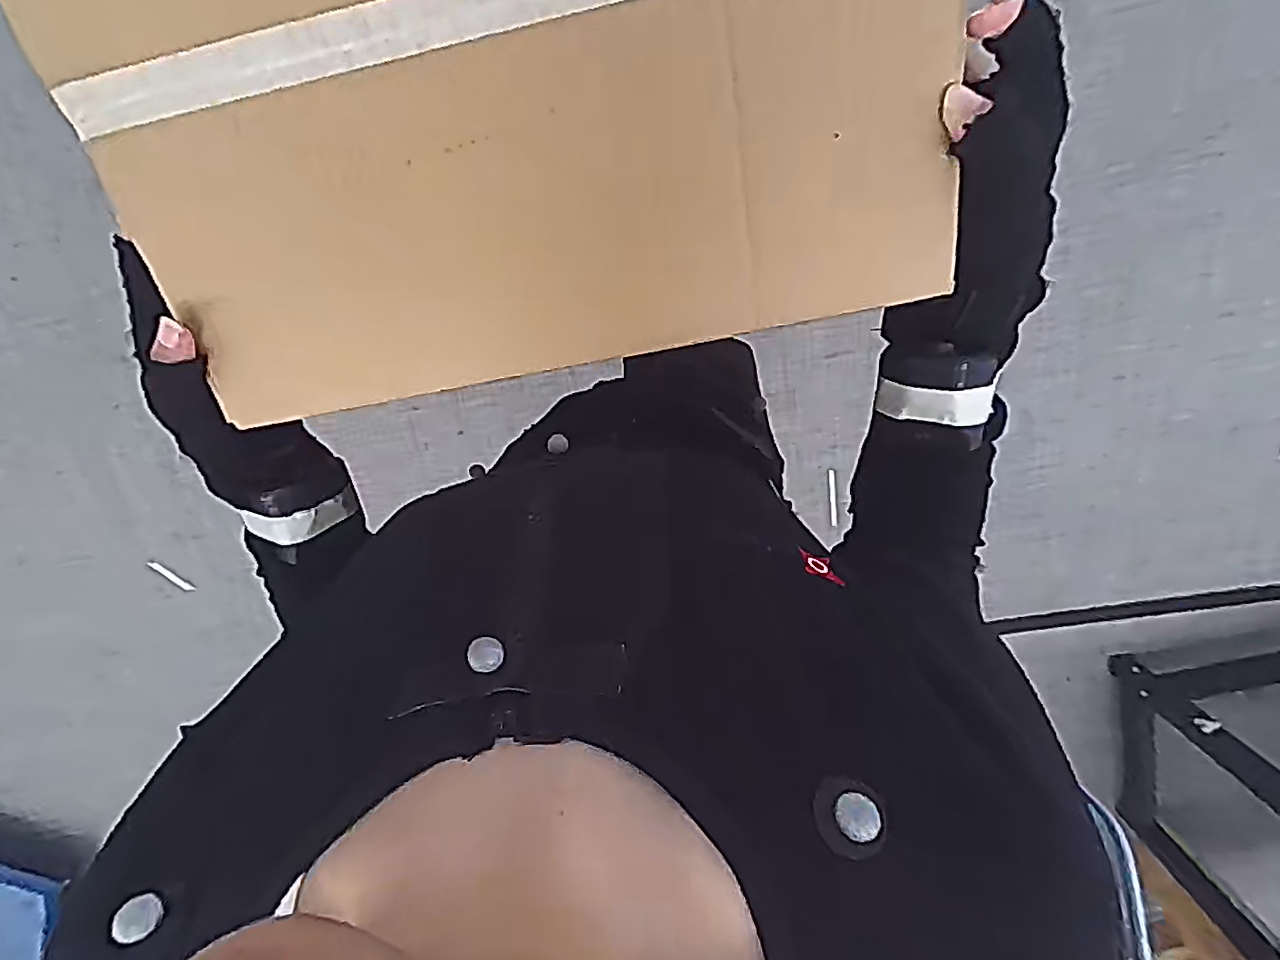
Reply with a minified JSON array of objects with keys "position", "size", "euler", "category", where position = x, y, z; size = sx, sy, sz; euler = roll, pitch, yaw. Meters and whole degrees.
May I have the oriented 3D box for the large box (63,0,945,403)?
[{"position":[-0.063,-0.275,0.383],"size":[0.408,0.320,0.320],"euler":[-10,114,5],"category":"large box"}]
